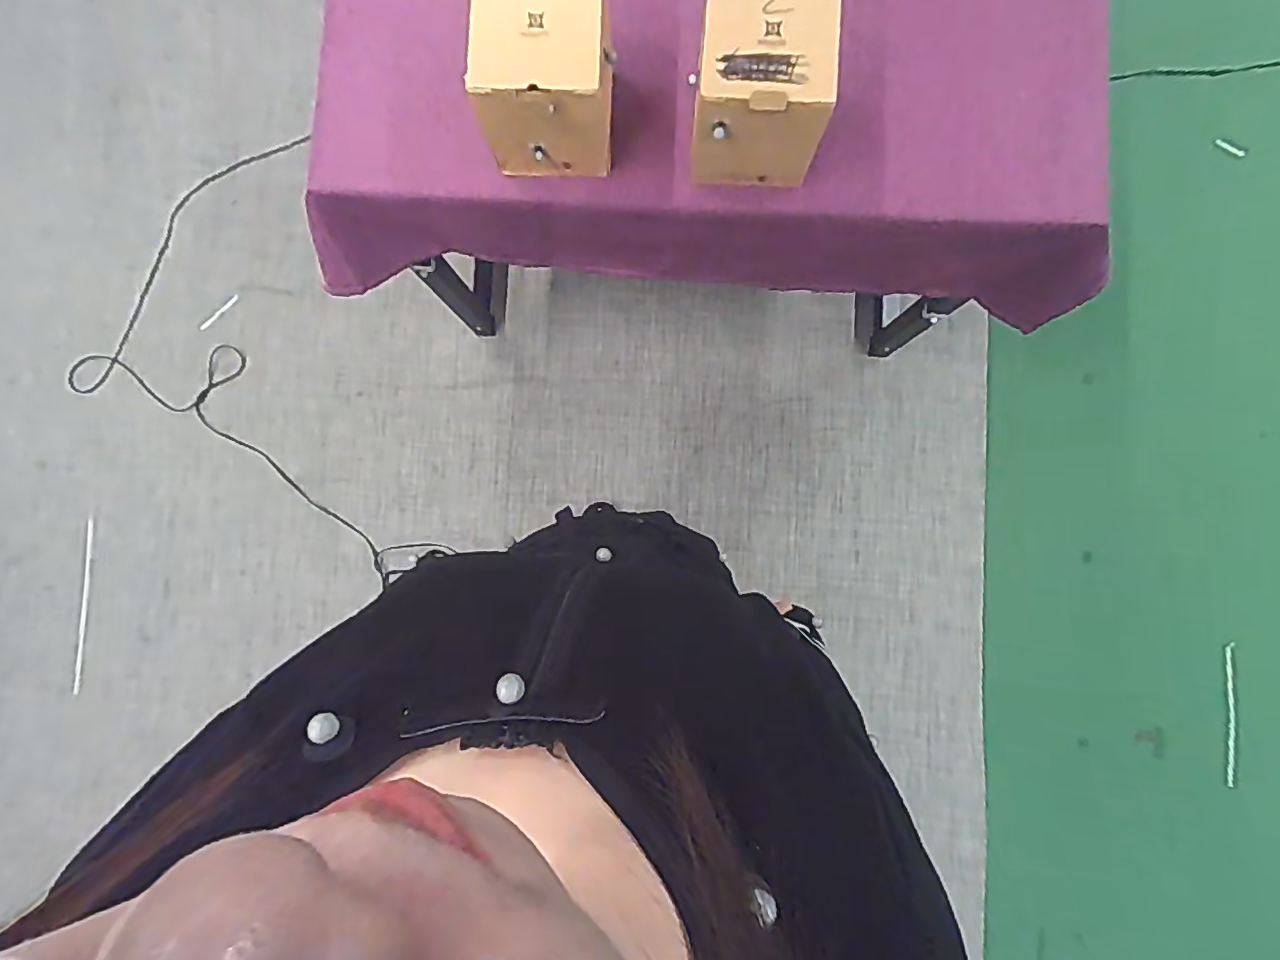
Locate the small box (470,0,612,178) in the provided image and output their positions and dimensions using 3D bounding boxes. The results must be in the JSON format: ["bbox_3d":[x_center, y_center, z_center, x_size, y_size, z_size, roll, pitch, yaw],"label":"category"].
[{"bbox_3d":[-0.128,-0.562,0.761,0.168,0.176,0.179,2,87,1],"label":"small box"}]
